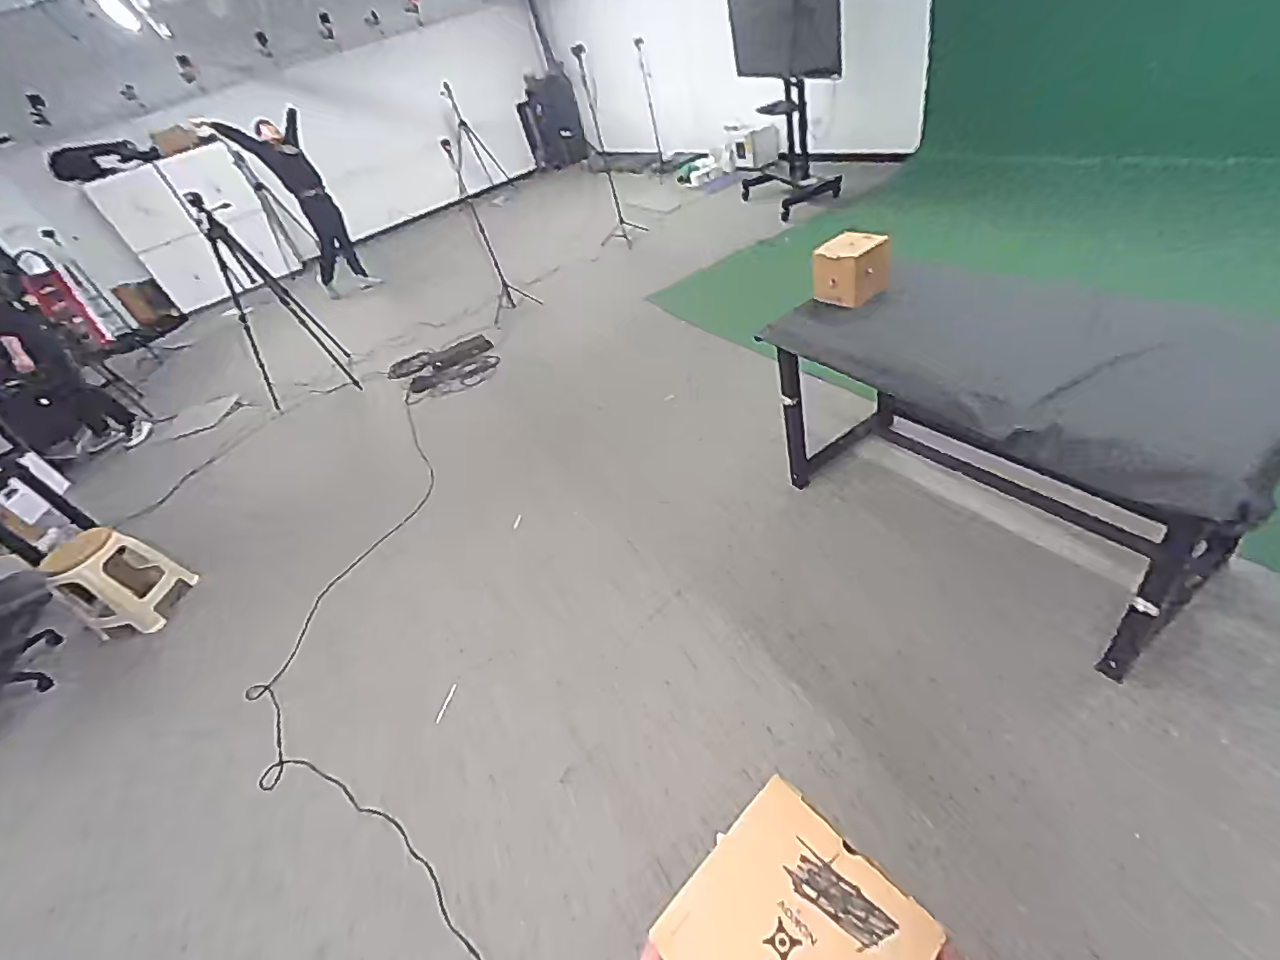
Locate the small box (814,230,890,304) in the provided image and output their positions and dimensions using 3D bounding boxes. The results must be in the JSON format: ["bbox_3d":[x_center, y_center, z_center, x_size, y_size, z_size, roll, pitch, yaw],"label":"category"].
[{"bbox_3d":[0.704,-0.704,1.790,0.179,0.176,0.168,-35,42,-18],"label":"small box"}]
